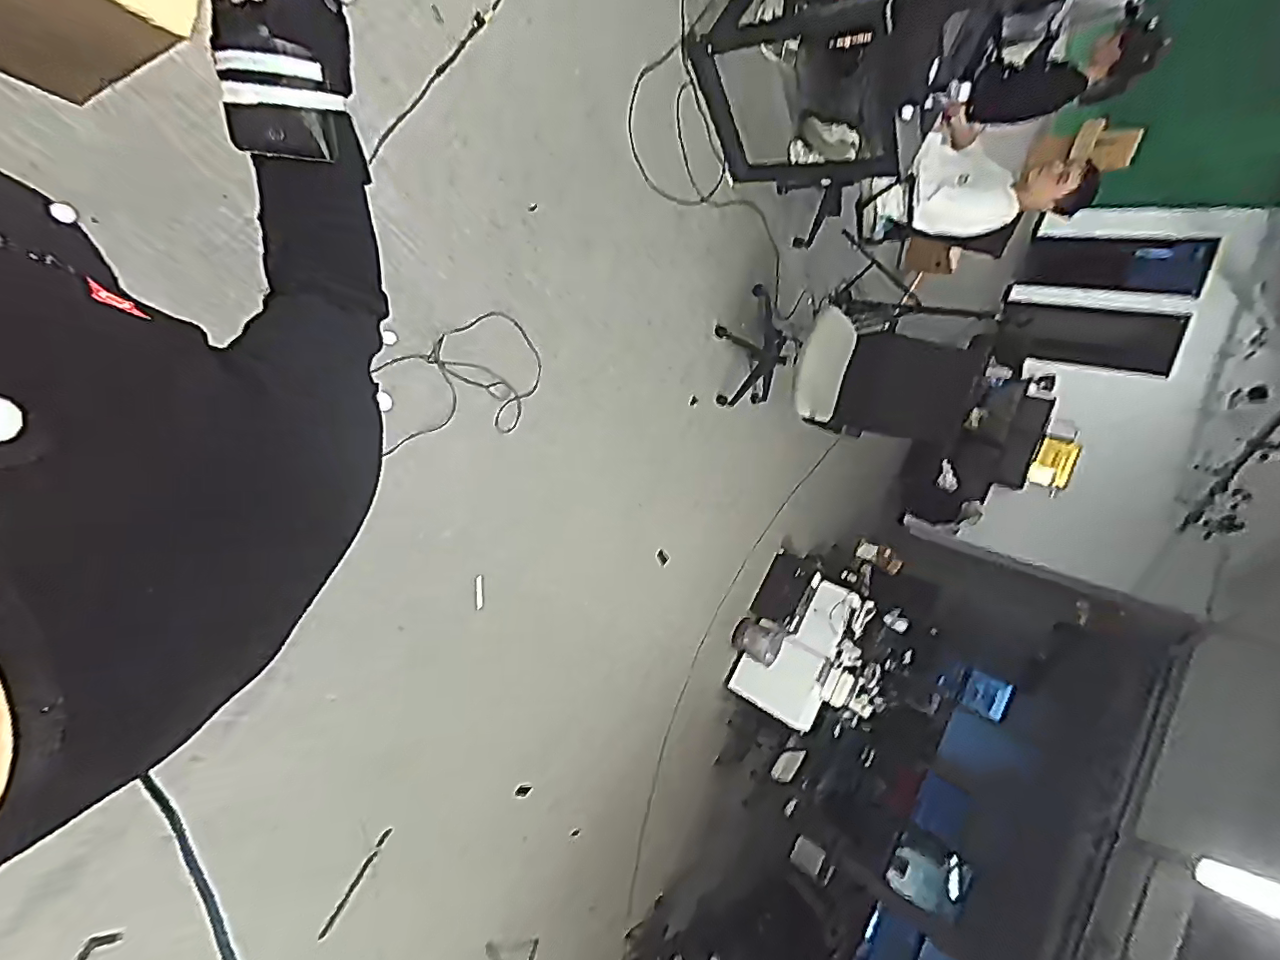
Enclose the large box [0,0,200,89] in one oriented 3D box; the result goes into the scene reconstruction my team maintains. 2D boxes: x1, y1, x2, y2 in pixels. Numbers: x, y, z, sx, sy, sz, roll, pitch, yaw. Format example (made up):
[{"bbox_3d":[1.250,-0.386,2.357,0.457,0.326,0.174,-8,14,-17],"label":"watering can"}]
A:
[{"bbox_3d":[-0.452,-0.448,0.211,0.408,0.320,0.320,3,104,-55],"label":"large box"}]
